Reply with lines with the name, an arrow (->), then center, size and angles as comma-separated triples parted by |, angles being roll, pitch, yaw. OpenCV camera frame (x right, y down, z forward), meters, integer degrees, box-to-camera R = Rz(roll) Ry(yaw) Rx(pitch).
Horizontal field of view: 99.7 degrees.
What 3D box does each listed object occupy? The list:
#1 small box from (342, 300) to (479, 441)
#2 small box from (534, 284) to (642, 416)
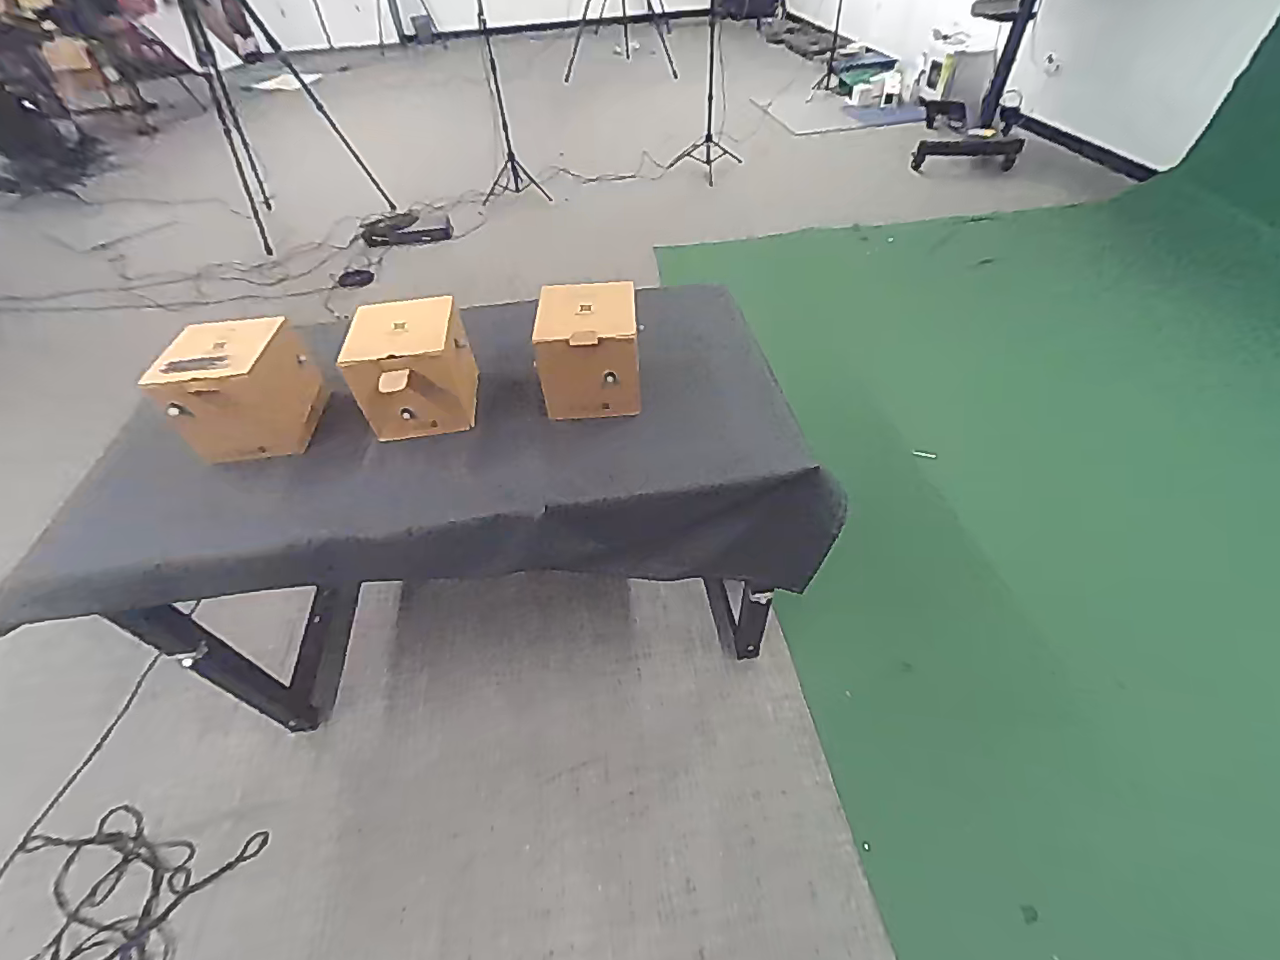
small box -> -0.388, -0.192, 0.952 | 0.168, 0.176, 0.179 | -8, 48, -4
small box -> -0.083, -0.225, 0.960 | 0.168, 0.176, 0.179 | -3, 46, 0
